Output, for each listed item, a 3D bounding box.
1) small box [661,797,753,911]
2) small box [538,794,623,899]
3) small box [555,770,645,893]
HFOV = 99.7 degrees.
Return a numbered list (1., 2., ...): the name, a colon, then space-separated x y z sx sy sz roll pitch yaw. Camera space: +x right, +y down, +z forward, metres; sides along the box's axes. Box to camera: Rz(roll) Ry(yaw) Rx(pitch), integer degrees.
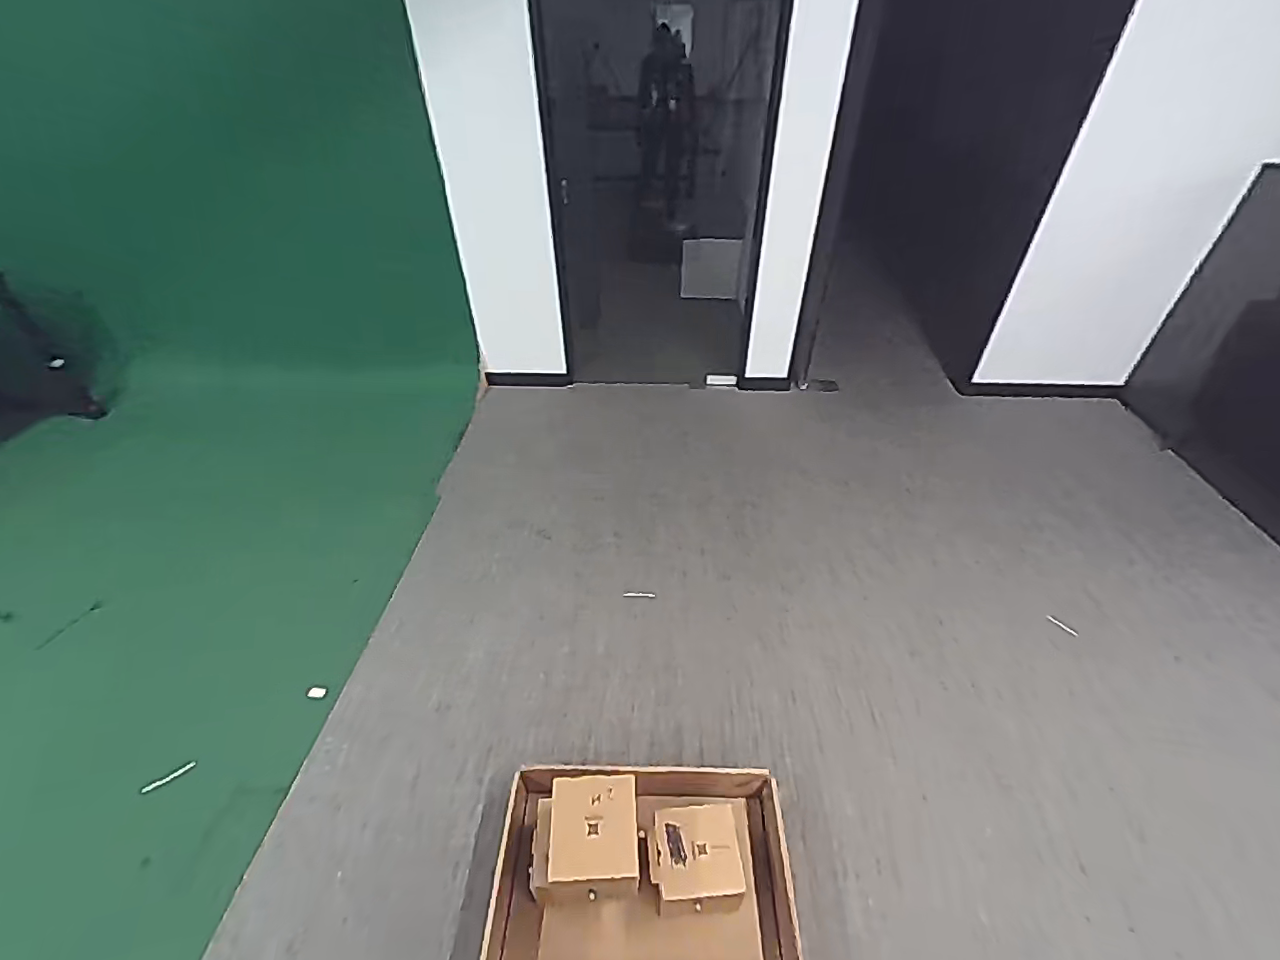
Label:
1. small box: 0.142 0.829 1.196 0.179 0.176 0.168 -4 41 -2
2. small box: -0.122 0.822 1.213 0.179 0.176 0.168 -1 42 -1
3. small box: -0.075 0.712 1.091 0.168 0.176 0.179 -1 42 -3
